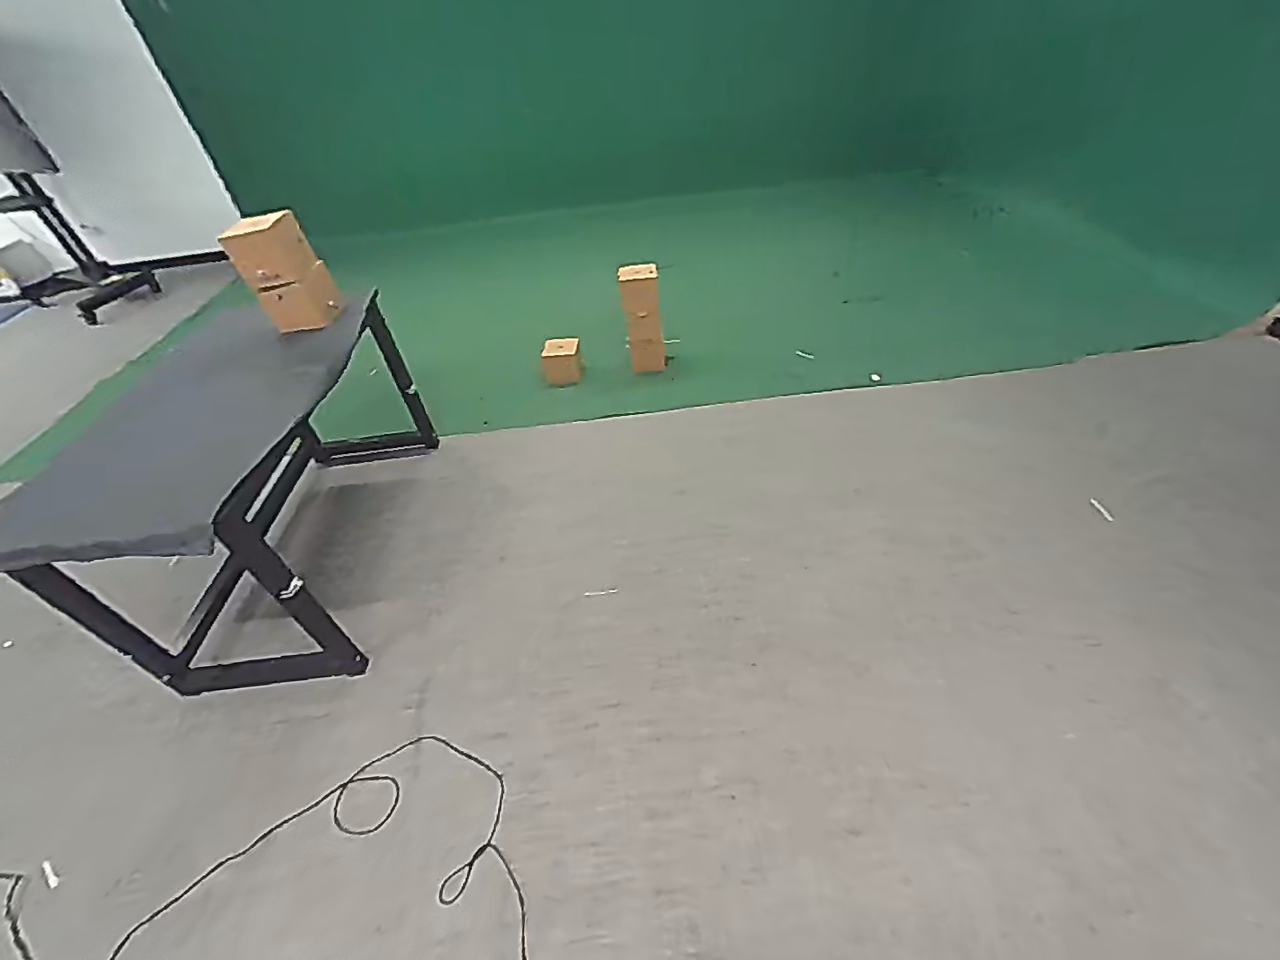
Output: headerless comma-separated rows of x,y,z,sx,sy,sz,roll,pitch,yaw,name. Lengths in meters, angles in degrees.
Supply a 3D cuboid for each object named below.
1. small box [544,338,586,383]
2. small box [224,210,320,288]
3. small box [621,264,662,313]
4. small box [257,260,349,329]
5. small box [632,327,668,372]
-0.385,-0.623,2.817,0.179,0.176,0.168,-3,43,6,small box
-1.169,-0.741,1.737,0.168,0.176,0.179,-11,44,2,small box
0.010,-0.917,2.594,0.179,0.176,0.168,-5,42,4,small box
-1.148,-0.631,1.855,0.179,0.176,0.168,-4,44,6,small box
0.054,-0.678,2.815,0.179,0.176,0.168,-4,43,4,small box
